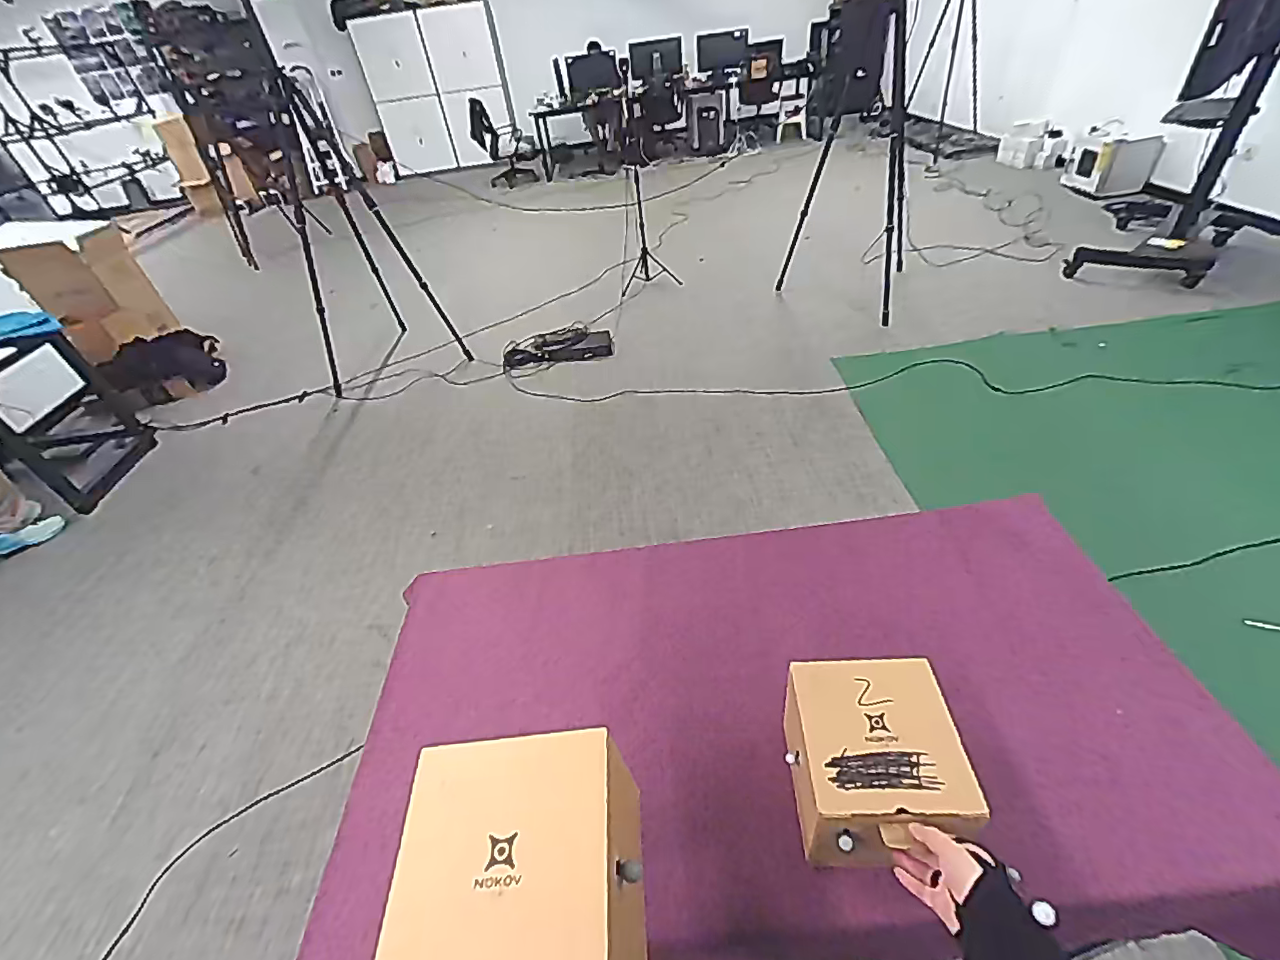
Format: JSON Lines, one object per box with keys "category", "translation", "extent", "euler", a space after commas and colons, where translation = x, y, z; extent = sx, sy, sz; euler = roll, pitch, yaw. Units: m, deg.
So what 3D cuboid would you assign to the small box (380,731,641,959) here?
{"category": "small box", "translation": [-0.093, 0.345, 0.472], "extent": [0.168, 0.176, 0.179], "euler": [-8, 46, 4]}
